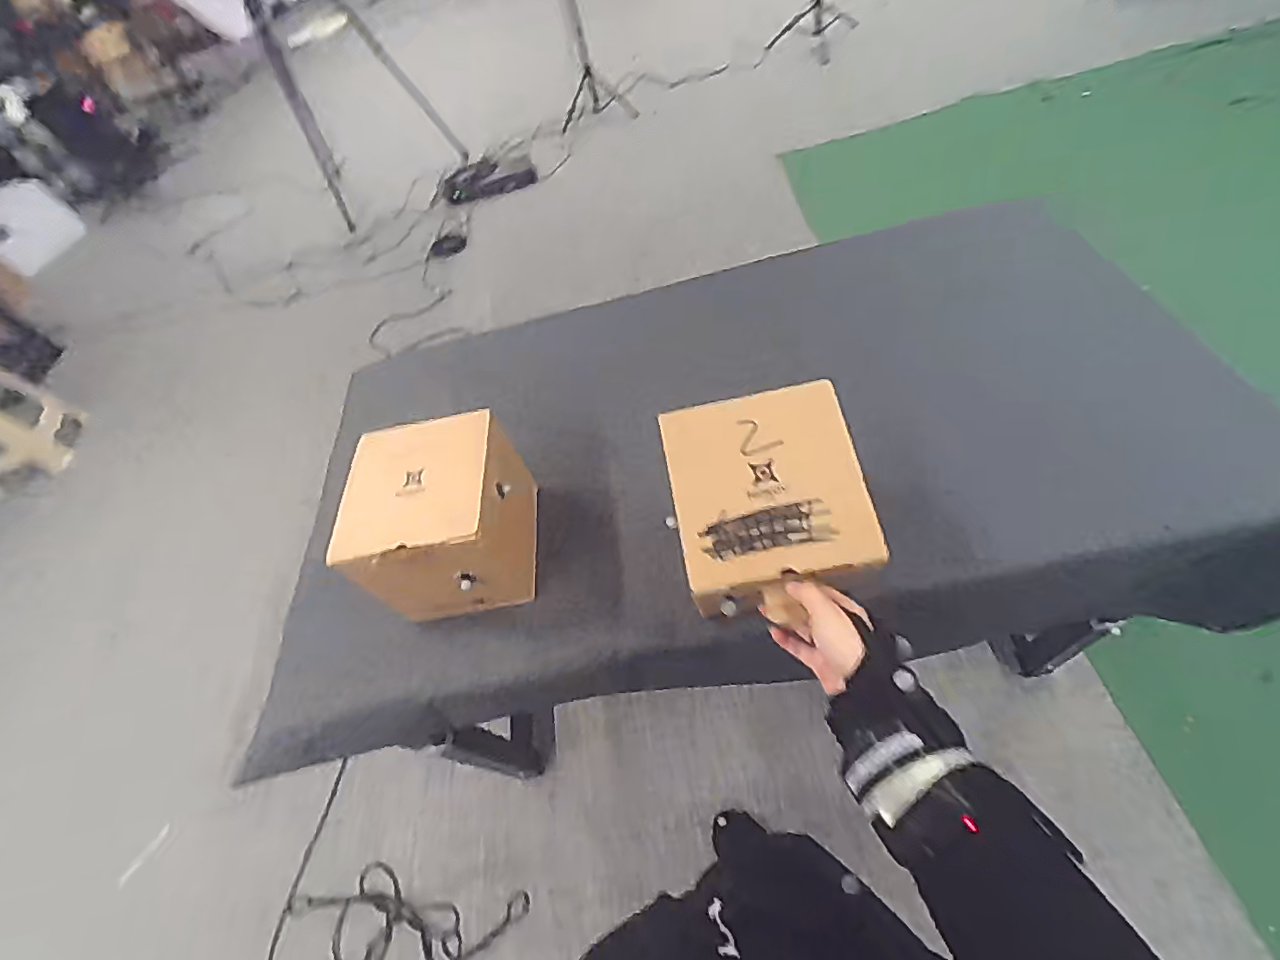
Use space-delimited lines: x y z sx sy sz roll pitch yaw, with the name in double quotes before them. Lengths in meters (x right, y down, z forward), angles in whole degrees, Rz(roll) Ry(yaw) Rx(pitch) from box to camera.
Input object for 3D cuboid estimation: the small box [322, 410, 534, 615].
"small box" -0.232 0.048 0.645 0.168 0.176 0.179 -11 52 5
